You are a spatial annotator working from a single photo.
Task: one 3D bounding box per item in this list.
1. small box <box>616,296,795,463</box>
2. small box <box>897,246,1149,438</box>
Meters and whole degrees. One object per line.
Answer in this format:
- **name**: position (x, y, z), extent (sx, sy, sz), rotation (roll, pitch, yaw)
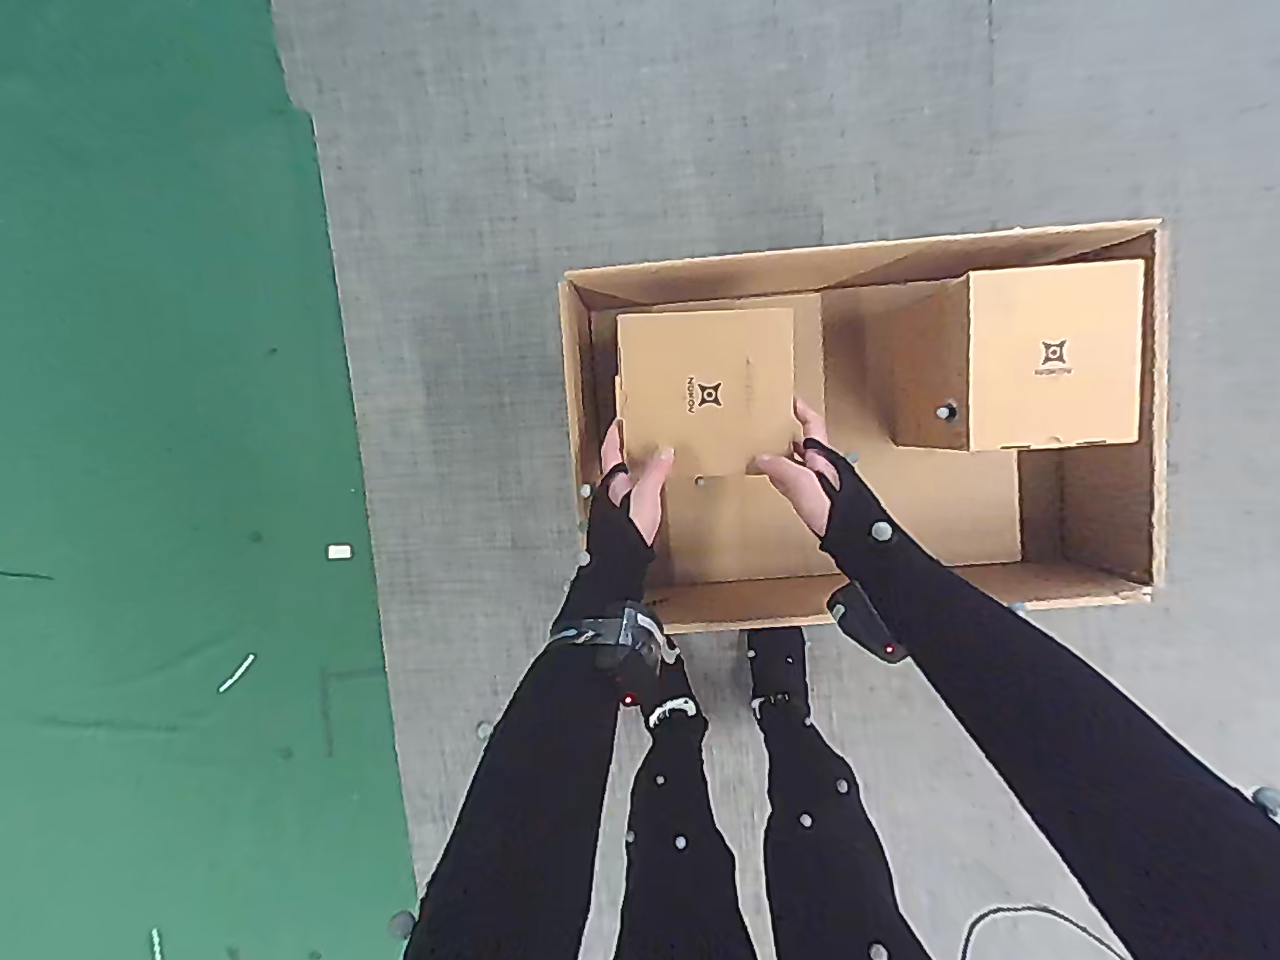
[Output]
- **small box**: position (0.069, -0.106, 0.616), extent (0.179, 0.176, 0.168), rotation (-1, 97, 3)
- **small box**: position (0.402, -0.141, 0.599), extent (0.168, 0.176, 0.179), rotation (-3, 98, 2)
